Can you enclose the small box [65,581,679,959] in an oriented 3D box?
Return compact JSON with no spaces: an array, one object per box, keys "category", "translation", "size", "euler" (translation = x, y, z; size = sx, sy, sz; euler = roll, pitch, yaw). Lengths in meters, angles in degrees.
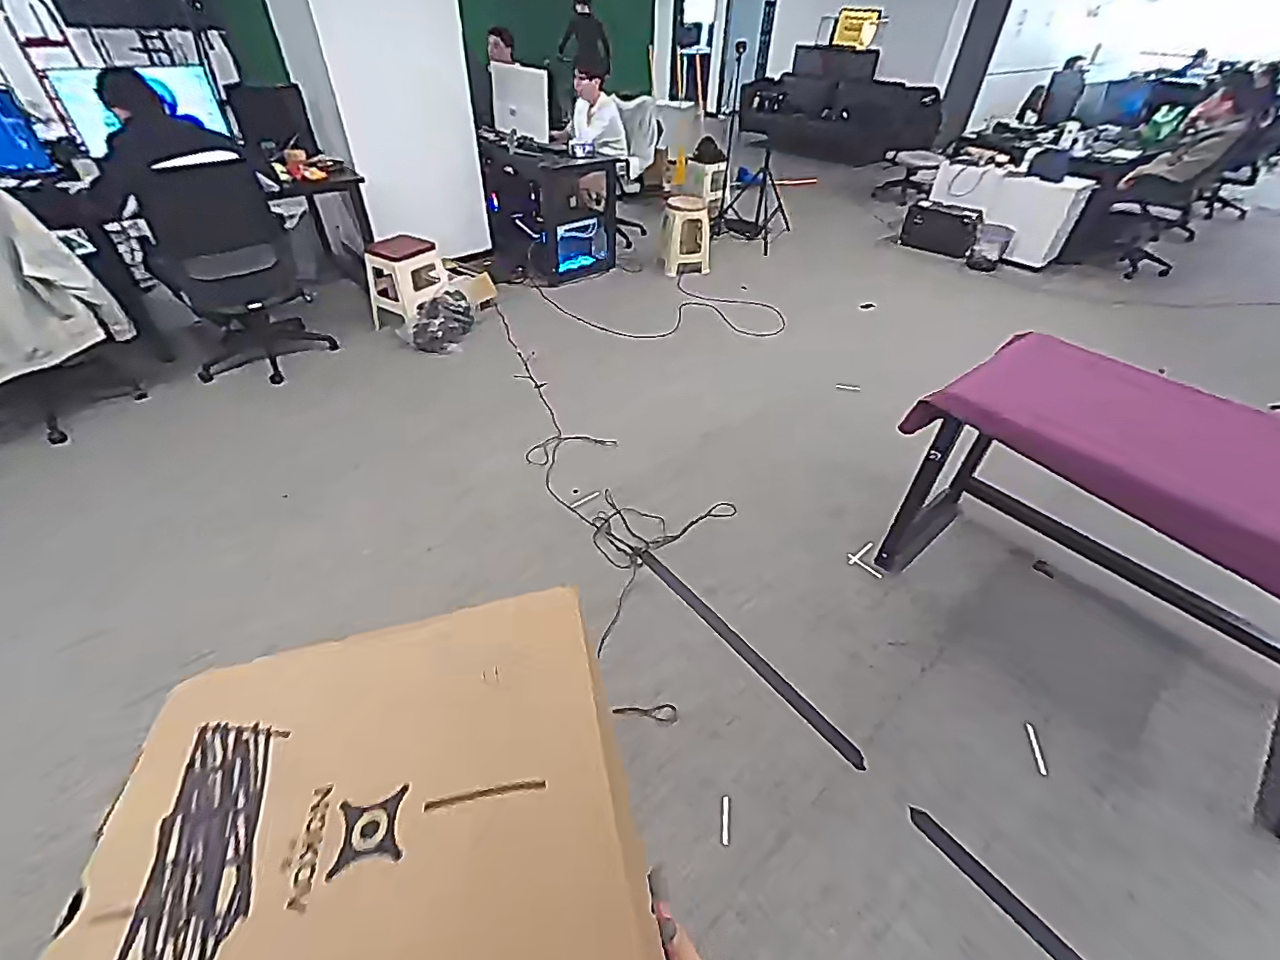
[{"category":"small box","translation":[-0.081,0.175,0.231],"size":[0.179,0.176,0.168],"euler":[-12,38,-6]}]
